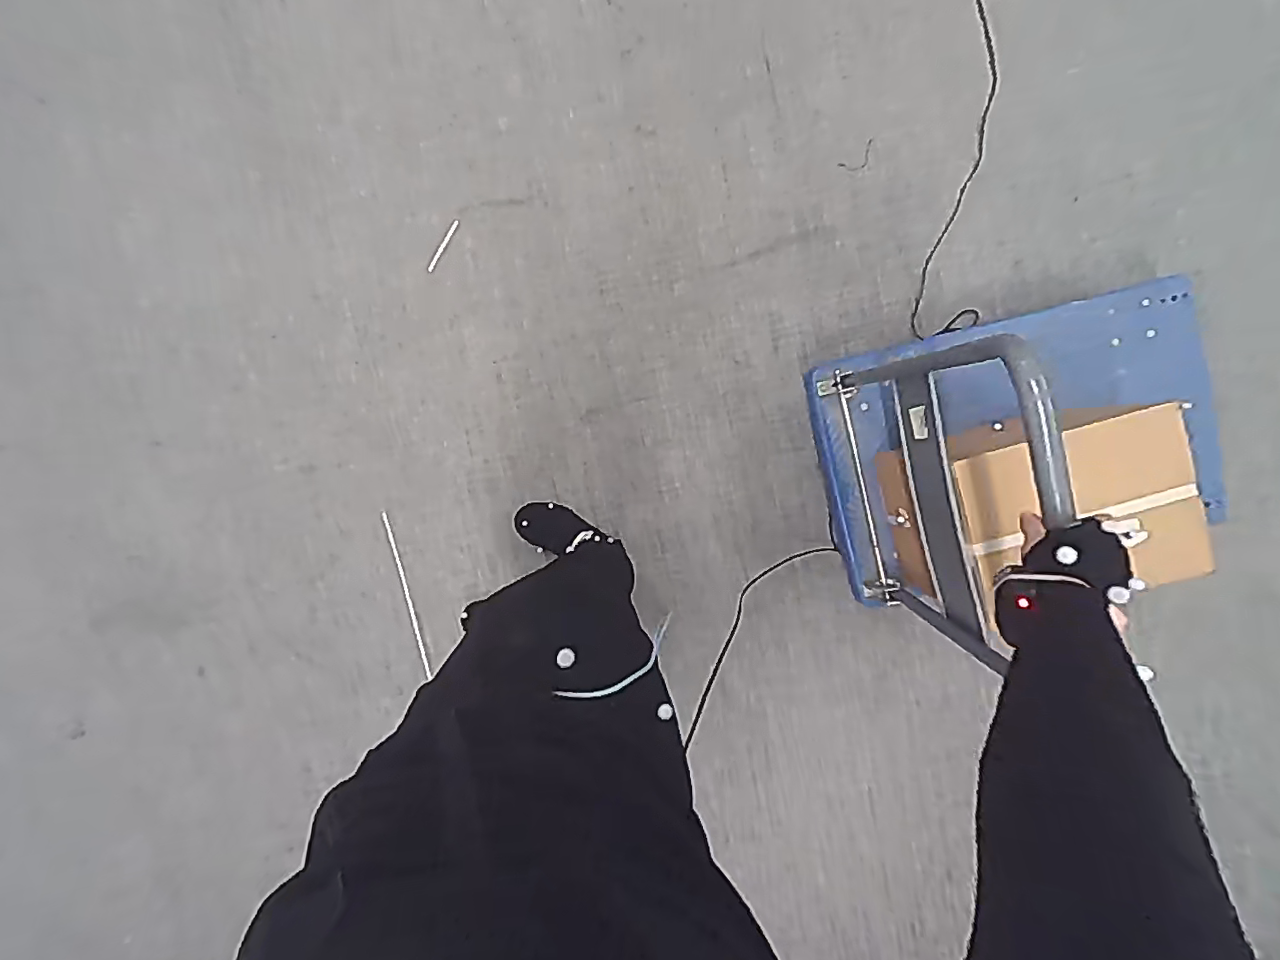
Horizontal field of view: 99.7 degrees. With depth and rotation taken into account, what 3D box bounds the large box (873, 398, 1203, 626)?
[{"bbox_3d":[0.758,0.049,1.089,0.408,0.320,0.320,-16,95,0],"label":"large box"}]
